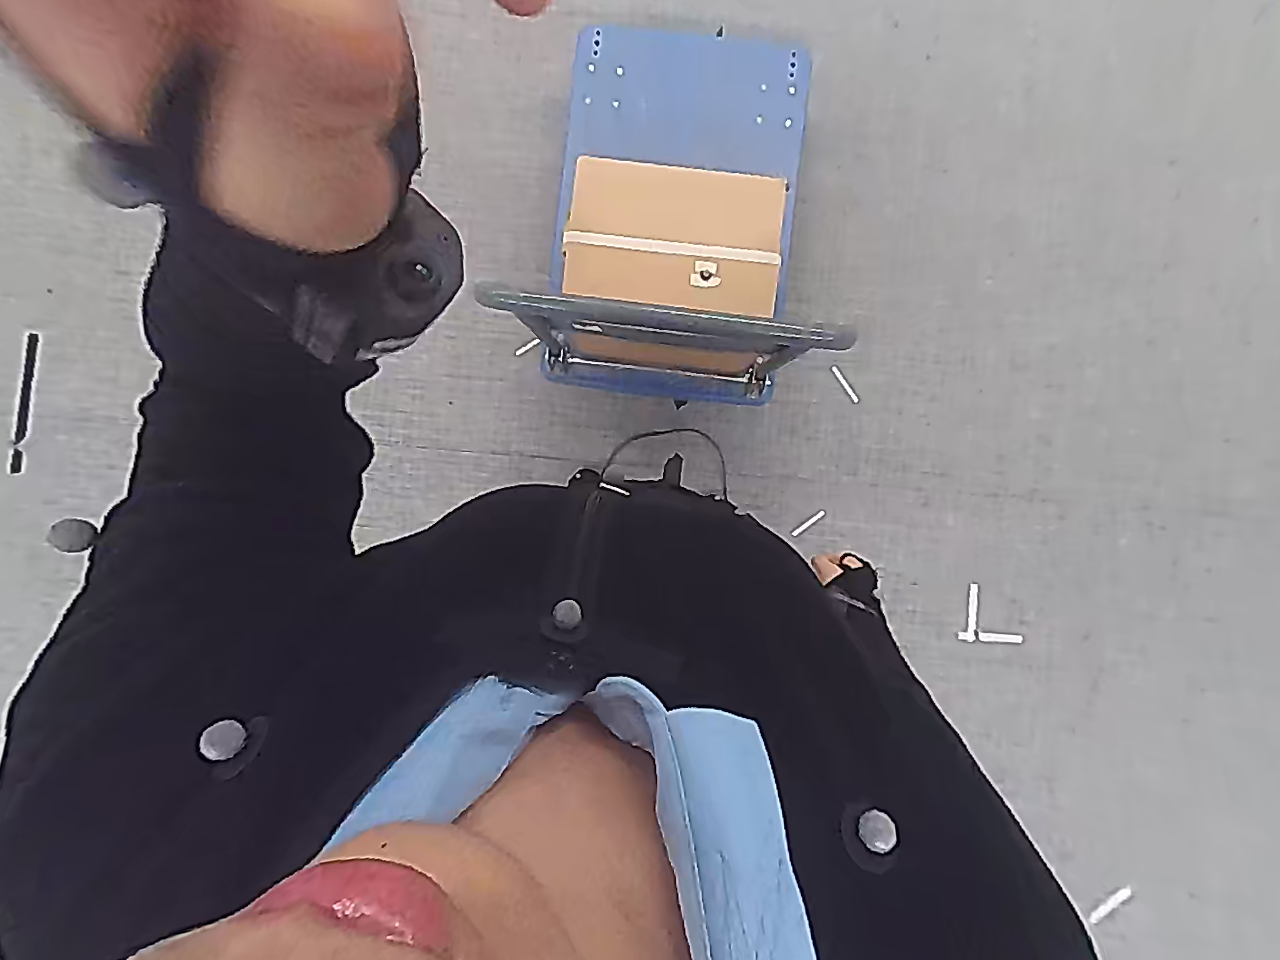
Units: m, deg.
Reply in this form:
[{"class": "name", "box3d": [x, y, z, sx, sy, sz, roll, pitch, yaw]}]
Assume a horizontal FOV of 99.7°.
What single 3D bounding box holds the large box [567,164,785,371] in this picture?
[{"class": "large box", "box3d": [0.066, -0.439, 1.190, 0.408, 0.320, 0.320, 6, 90, -1]}]
